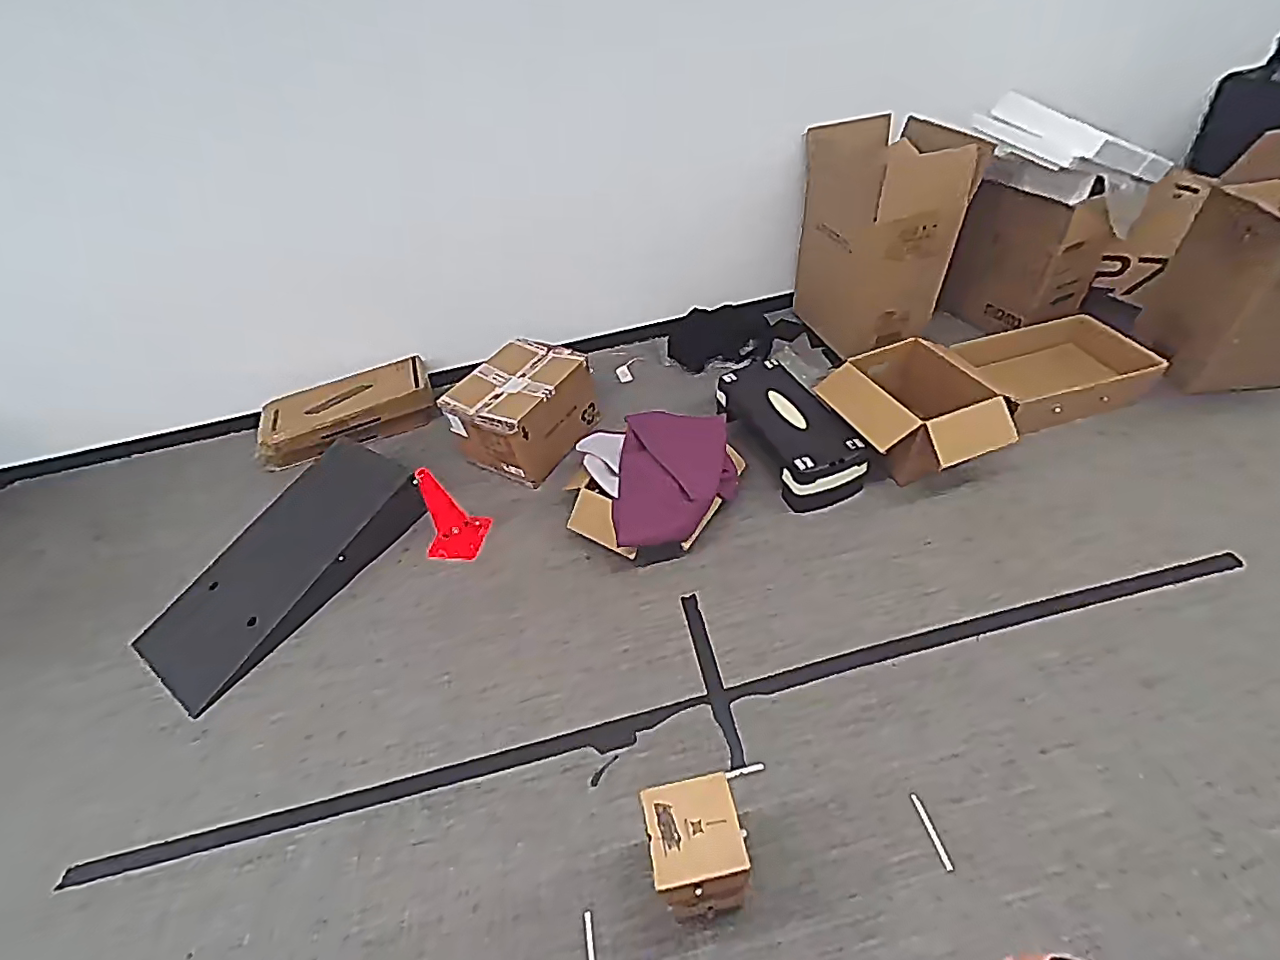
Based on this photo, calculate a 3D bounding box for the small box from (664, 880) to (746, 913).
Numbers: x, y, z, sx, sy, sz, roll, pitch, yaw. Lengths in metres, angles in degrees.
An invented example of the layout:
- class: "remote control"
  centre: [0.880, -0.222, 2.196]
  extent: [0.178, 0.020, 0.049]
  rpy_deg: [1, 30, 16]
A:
- class: "small box"
  centre: [0.129, 0.821, 1.178]
  extent: [0.168, 0.176, 0.179]
  rpy_deg: [-12, 46, -1]

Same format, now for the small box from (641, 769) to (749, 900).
- class: "small box"
  centre: [0.109, 0.701, 1.065]
  extent: [0.179, 0.176, 0.168]
  rpy_deg: [-12, 45, -2]
